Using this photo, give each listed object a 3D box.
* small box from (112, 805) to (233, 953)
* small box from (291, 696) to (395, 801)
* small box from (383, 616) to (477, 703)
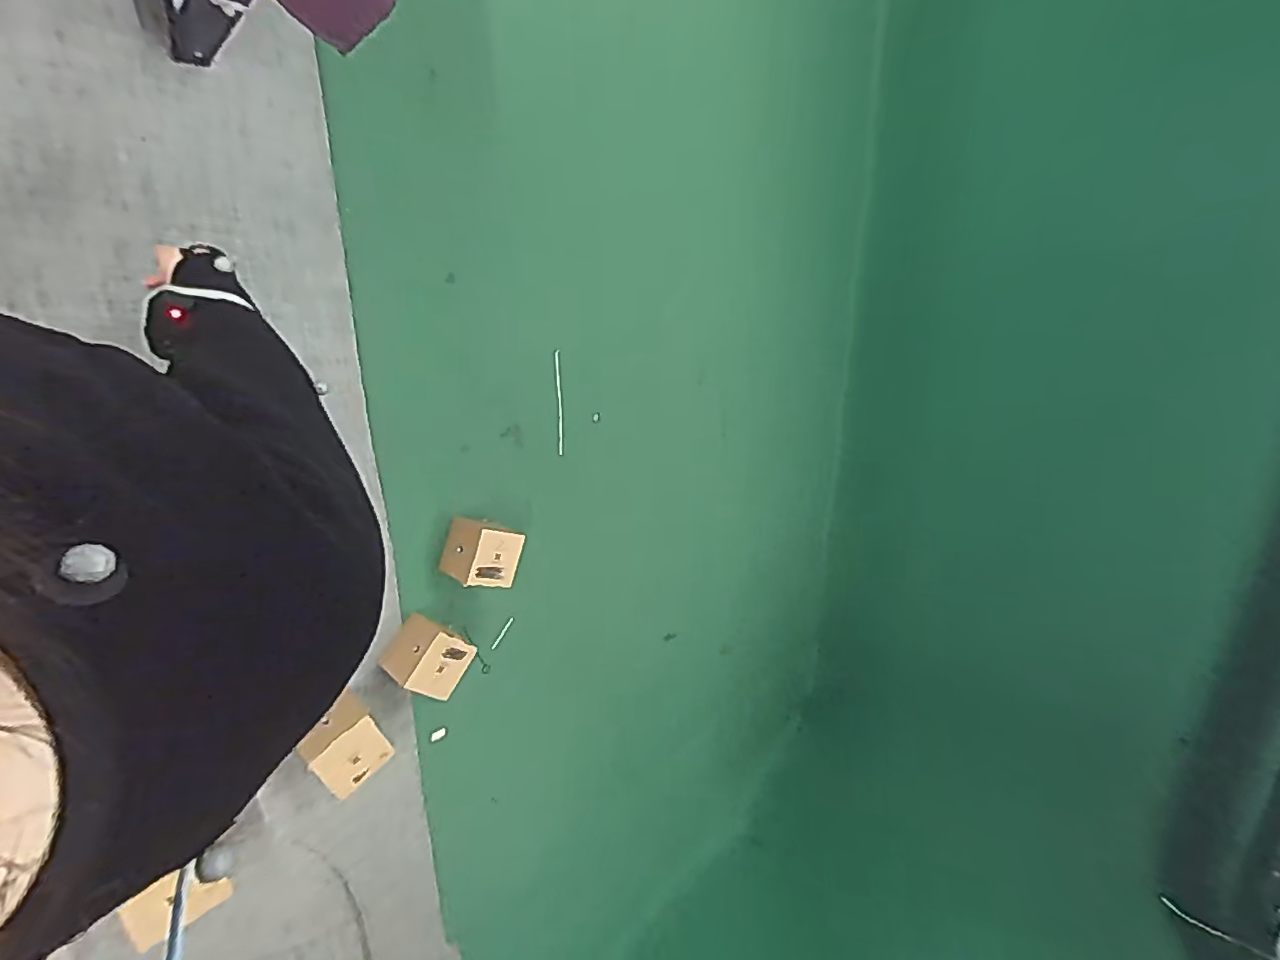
[{"bbox_3d":[-1.078,0.906,1.246,0.179,0.176,0.168,-20,116,-43],"label":"small box"},{"bbox_3d":[-0.819,0.726,1.489,0.168,0.176,0.179,-38,127,-36],"label":"small box"},{"bbox_3d":[-0.639,0.538,1.637,0.179,0.176,0.168,-59,137,-17],"label":"small box"}]
